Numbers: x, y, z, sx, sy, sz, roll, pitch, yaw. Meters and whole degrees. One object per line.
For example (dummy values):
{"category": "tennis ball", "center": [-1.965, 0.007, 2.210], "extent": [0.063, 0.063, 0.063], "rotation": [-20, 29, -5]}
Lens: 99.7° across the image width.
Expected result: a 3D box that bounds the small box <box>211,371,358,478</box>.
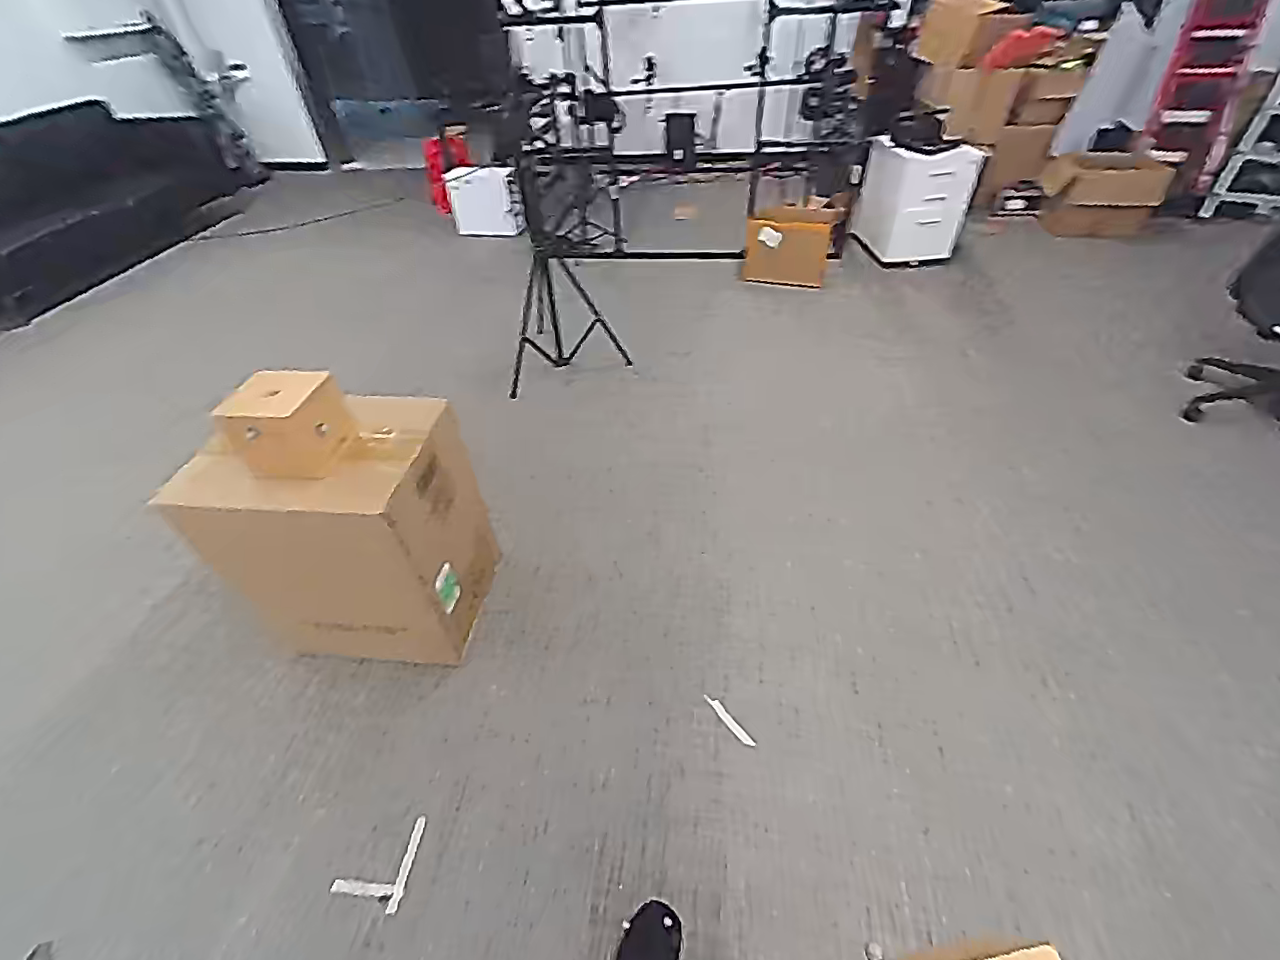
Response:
{"category": "small box", "center": [-0.753, -0.119, 1.173], "extent": [0.179, 0.176, 0.168], "rotation": [2, 44, 7]}
